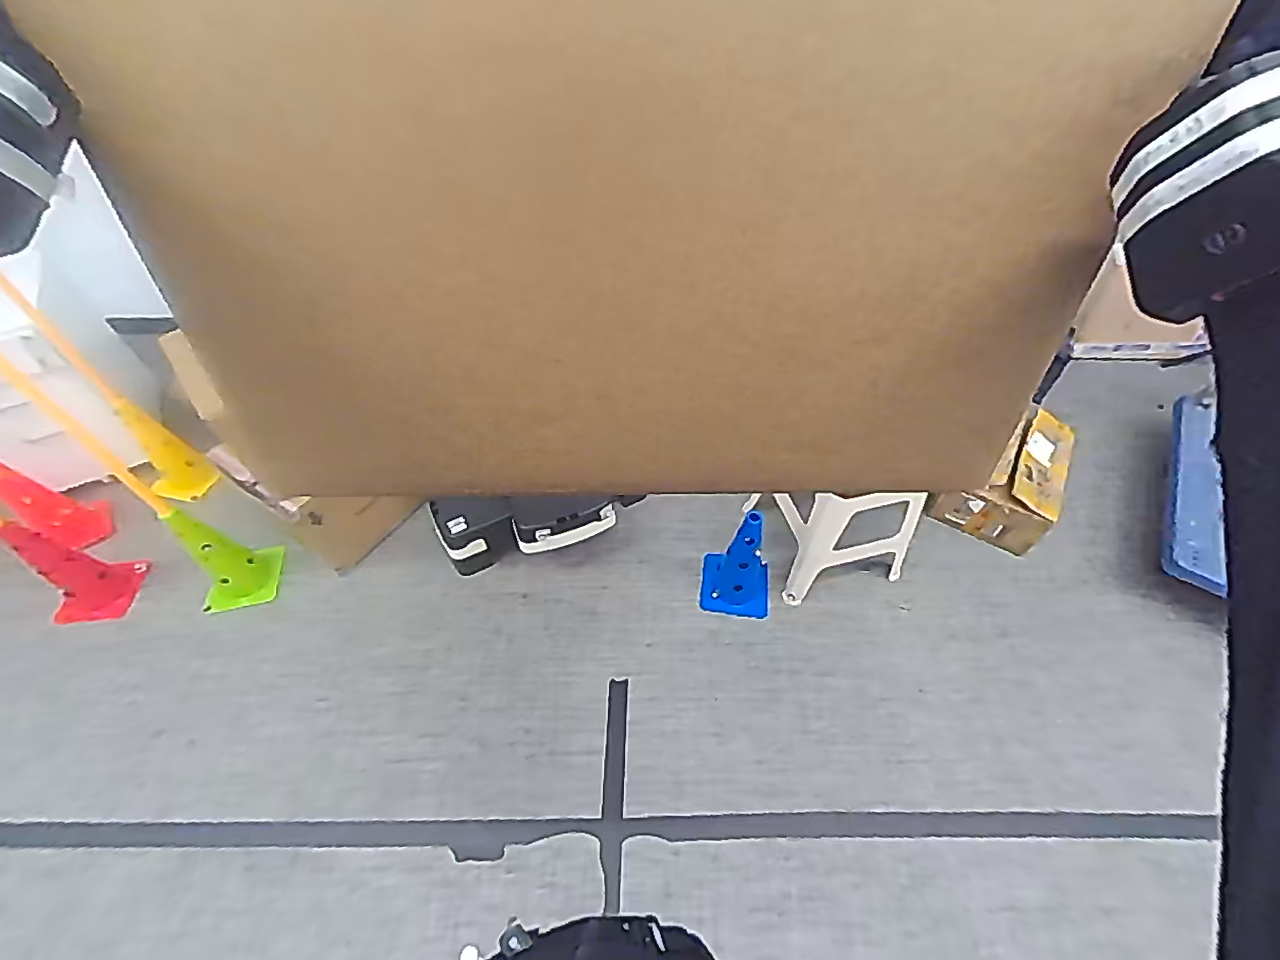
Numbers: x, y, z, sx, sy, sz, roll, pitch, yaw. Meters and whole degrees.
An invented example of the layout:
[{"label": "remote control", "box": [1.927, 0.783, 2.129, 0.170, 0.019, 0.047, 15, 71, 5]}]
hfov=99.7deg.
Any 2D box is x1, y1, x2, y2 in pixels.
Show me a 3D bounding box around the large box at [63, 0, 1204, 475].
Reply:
[{"label": "large box", "box": [-0.004, -0.211, 0.334, 0.408, 0.320, 0.320, 1, 39, -2]}]
